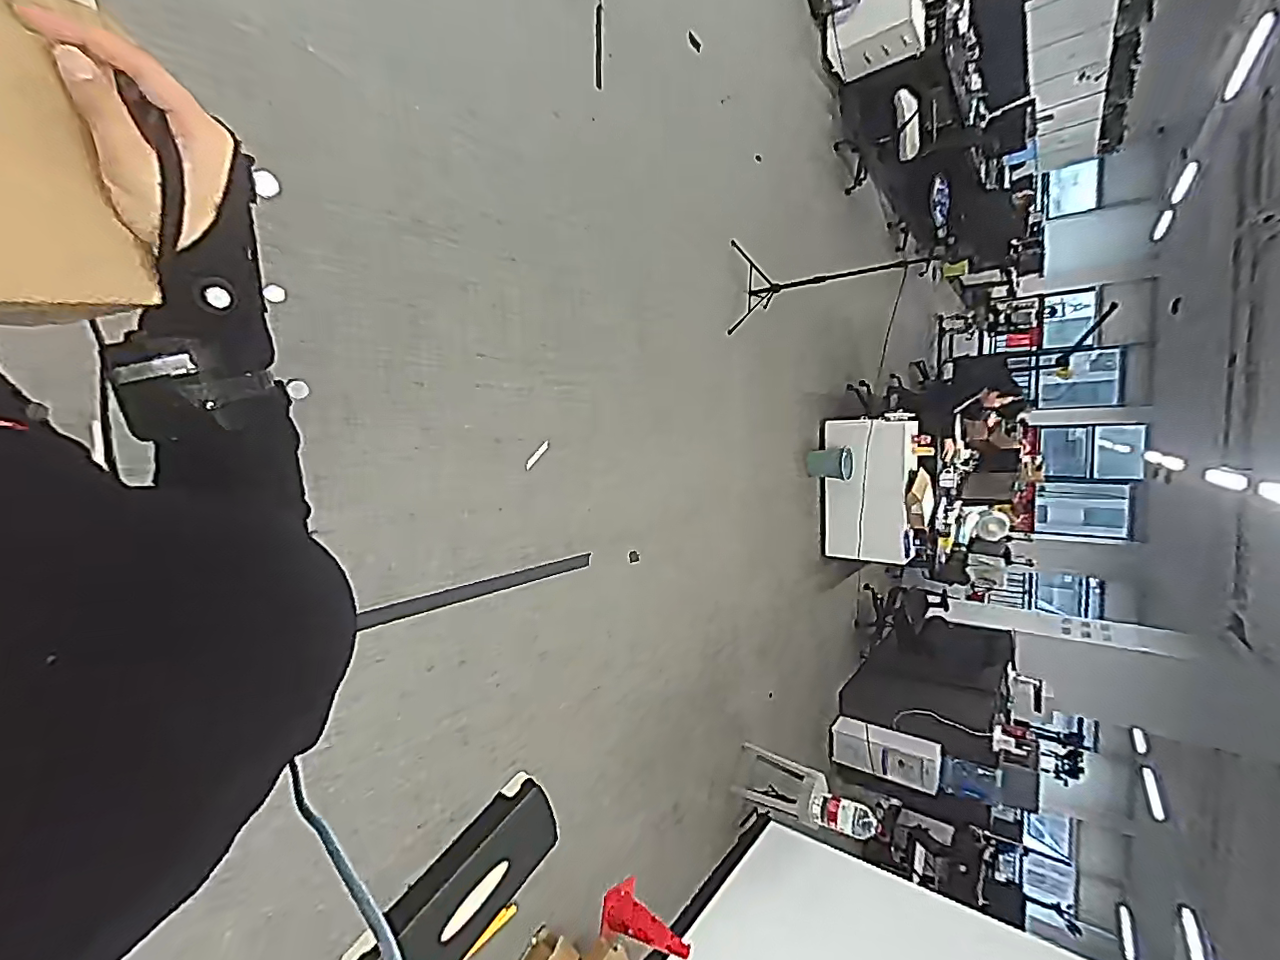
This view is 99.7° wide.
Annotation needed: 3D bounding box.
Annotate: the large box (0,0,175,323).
[{"bbox_3d":[-0.530,-0.229,0.230,0.408,0.320,0.320,-21,115,-50],"label":"large box"}]
